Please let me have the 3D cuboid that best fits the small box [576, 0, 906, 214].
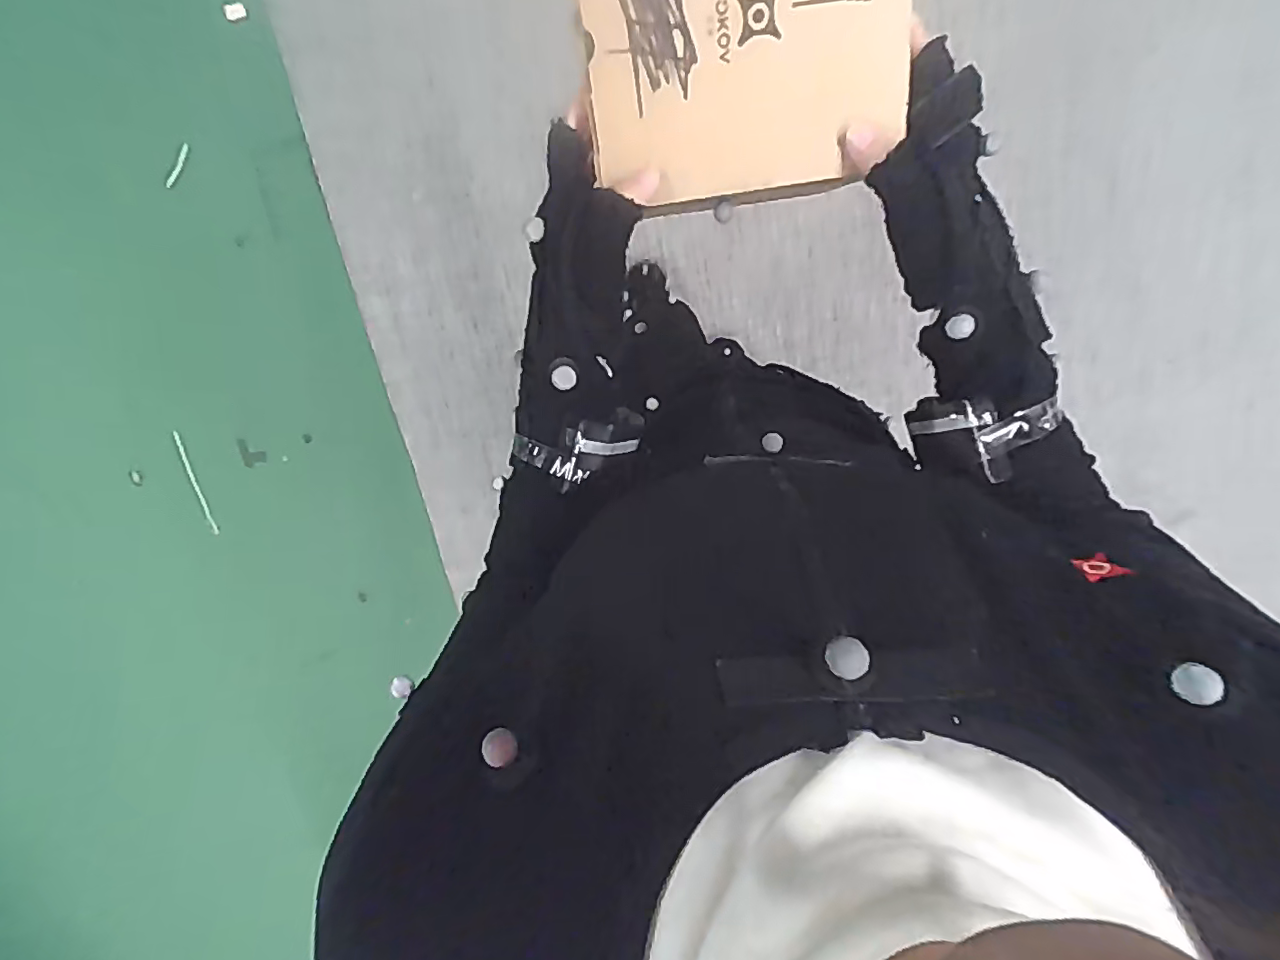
[{"bbox_3d":[0.058,-0.283,0.363,0.179,0.176,0.168,-5,113,5],"label":"small box"}]
